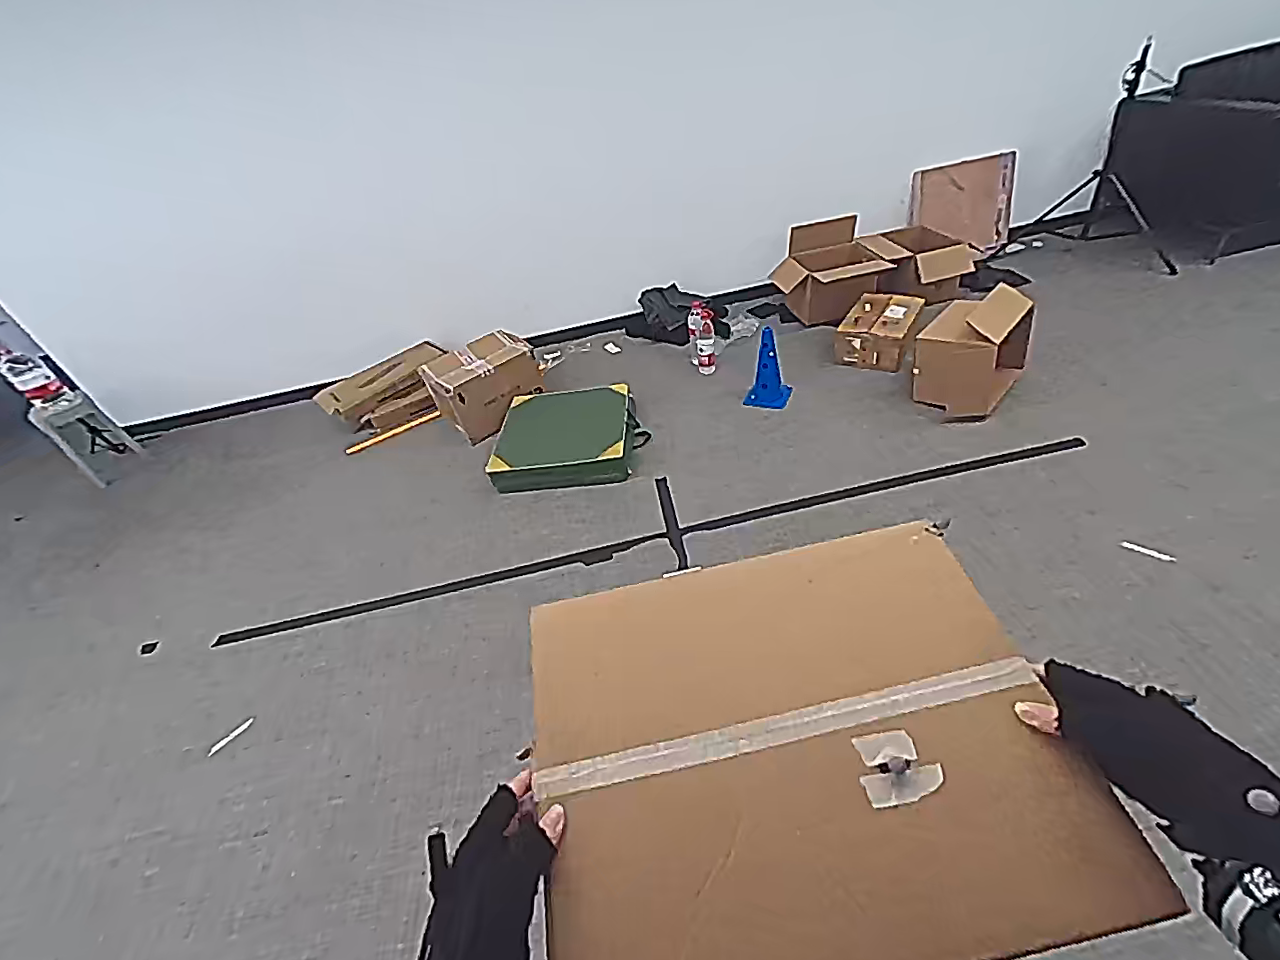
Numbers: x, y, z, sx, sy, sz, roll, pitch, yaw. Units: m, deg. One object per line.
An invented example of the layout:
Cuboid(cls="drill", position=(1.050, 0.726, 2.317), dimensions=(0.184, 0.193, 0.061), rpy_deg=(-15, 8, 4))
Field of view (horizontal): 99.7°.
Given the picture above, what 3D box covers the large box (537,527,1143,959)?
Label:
Cuboid(cls="large box", position=(0.134, 0.300, 0.562), dimensions=(0.408, 0.320, 0.320), rpy_deg=(-13, 50, -1))
